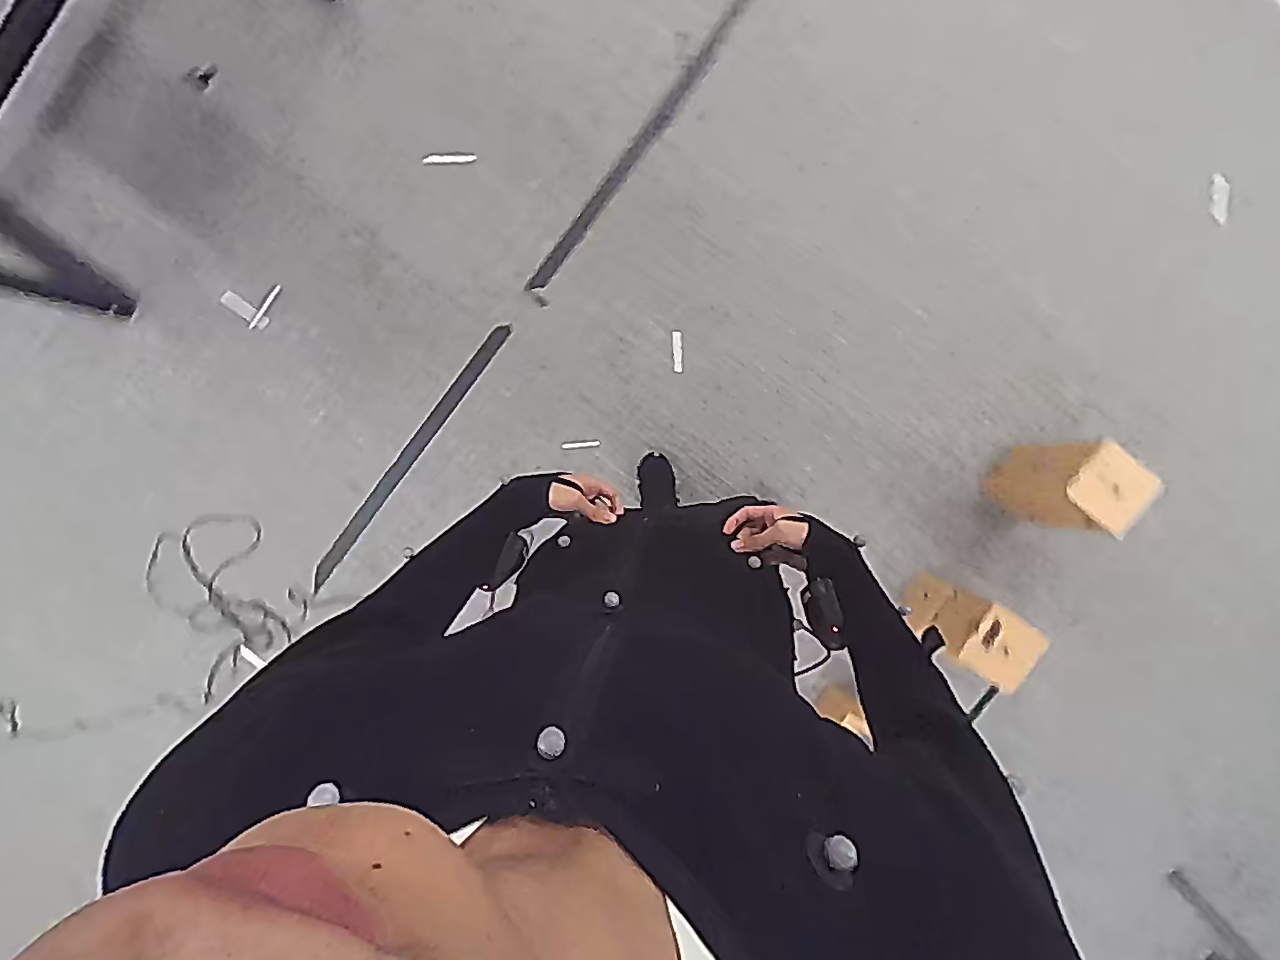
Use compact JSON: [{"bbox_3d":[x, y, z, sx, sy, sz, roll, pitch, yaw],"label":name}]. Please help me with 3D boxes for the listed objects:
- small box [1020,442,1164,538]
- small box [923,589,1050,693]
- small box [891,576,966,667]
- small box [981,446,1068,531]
[{"bbox_3d":[1.117,0.018,1.350,0.179,0.176,0.168,39,92,-1],"label":"small box"},{"bbox_3d":[0.871,0.399,1.381,0.179,0.176,0.168,35,94,-3],"label":"small box"},{"bbox_3d":[0.861,0.392,1.545,0.179,0.176,0.168,35,94,-2],"label":"small box"},{"bbox_3d":[1.117,0.016,1.514,0.179,0.176,0.168,40,93,-2],"label":"small box"}]
